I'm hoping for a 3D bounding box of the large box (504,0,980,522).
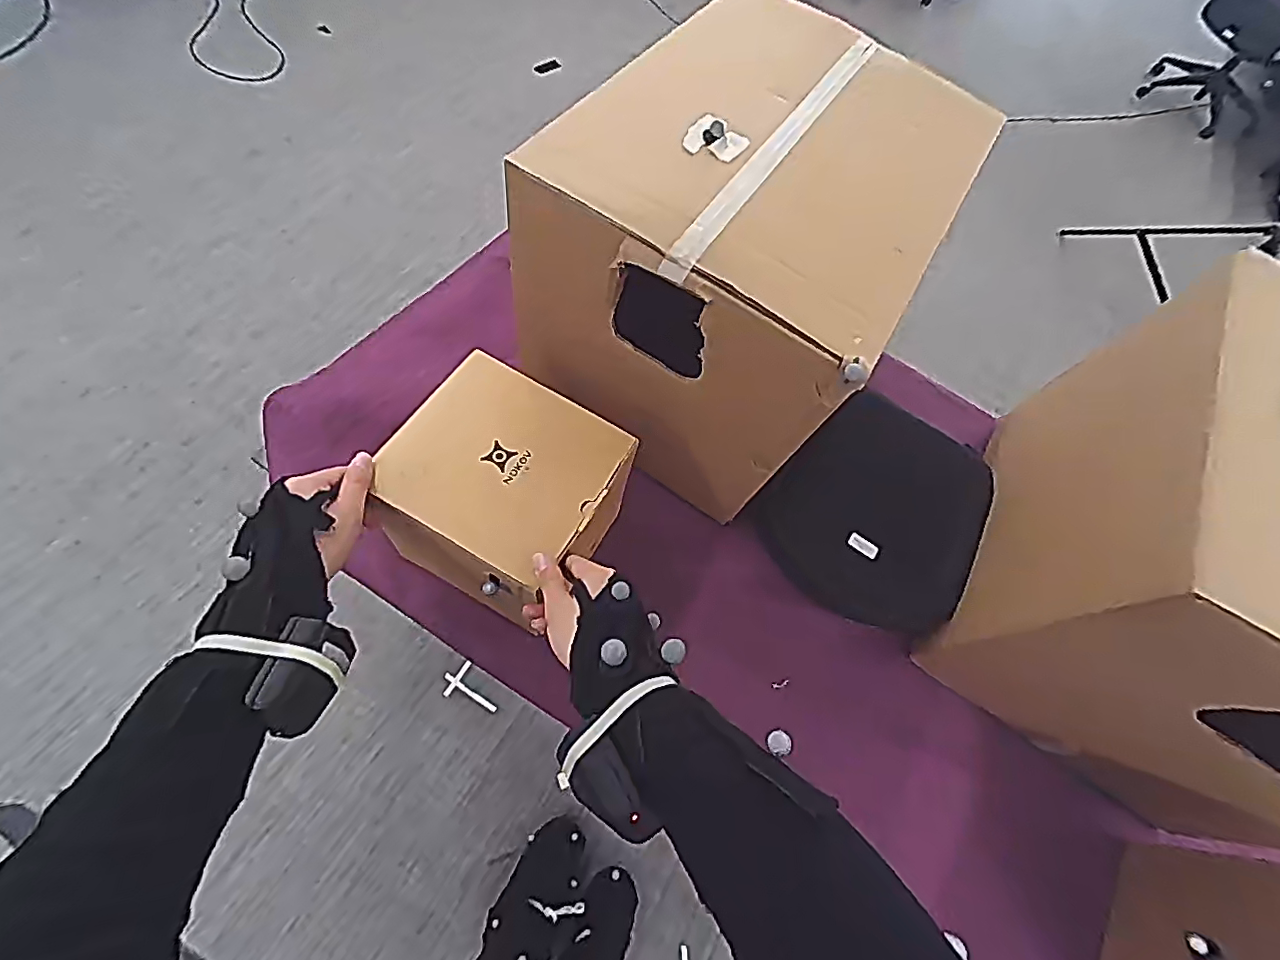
[{"bbox_3d":[0.098,-0.229,0.617,0.320,0.320,0.408,32,66,6],"label":"large box"}]
